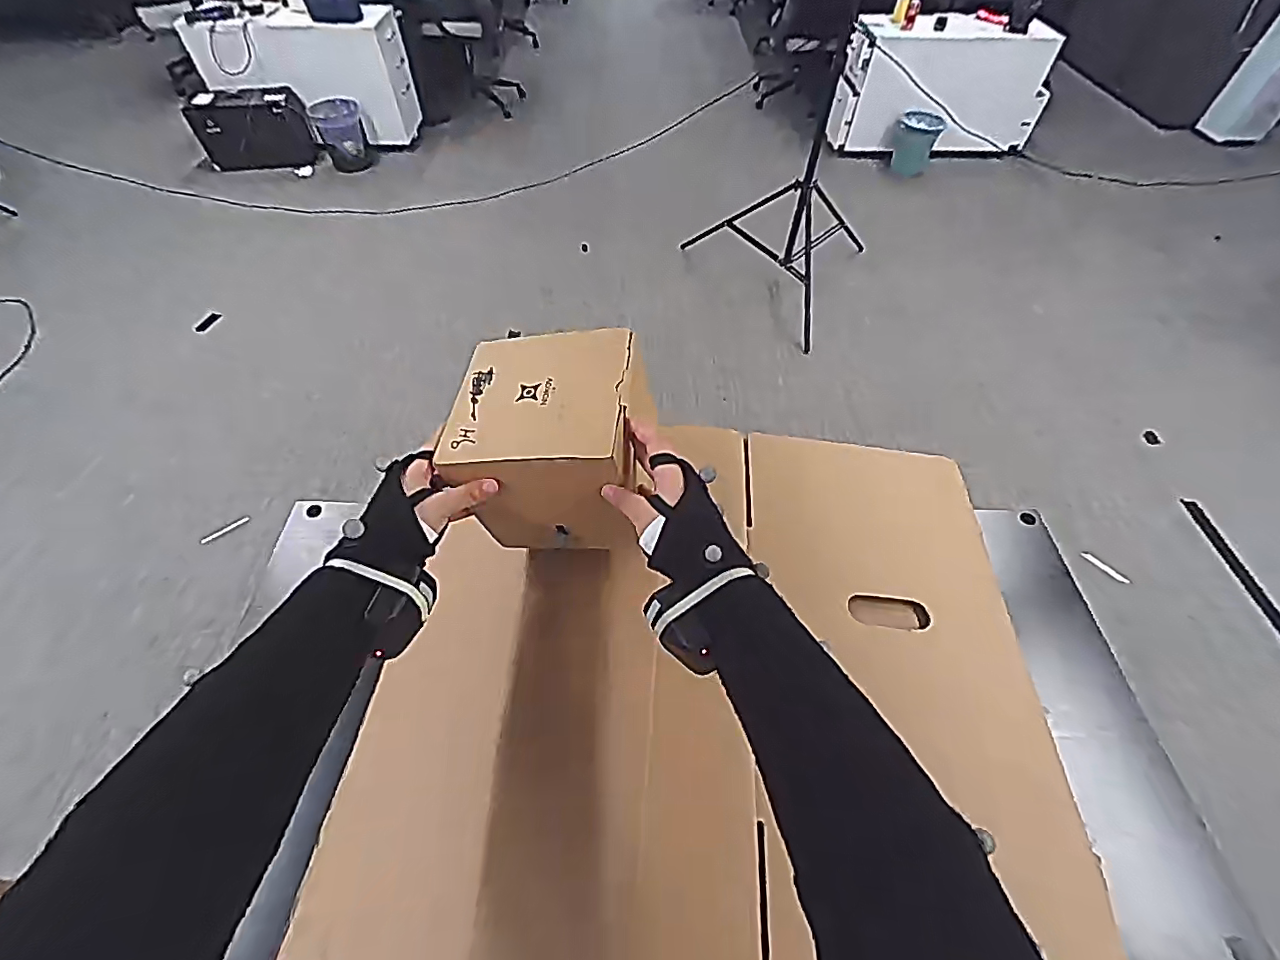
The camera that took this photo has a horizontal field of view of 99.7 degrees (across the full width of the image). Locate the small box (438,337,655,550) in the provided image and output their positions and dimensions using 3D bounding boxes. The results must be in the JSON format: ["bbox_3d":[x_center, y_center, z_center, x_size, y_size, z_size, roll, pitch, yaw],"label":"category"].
[{"bbox_3d":[-0.083,-0.033,0.595,0.179,0.176,0.168,-2,54,11],"label":"small box"}]

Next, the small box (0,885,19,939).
[{"bbox_3d":[-1.228,0.791,0.900,0.168,0.176,0.179,-5,52,-6],"label":"small box"}]
